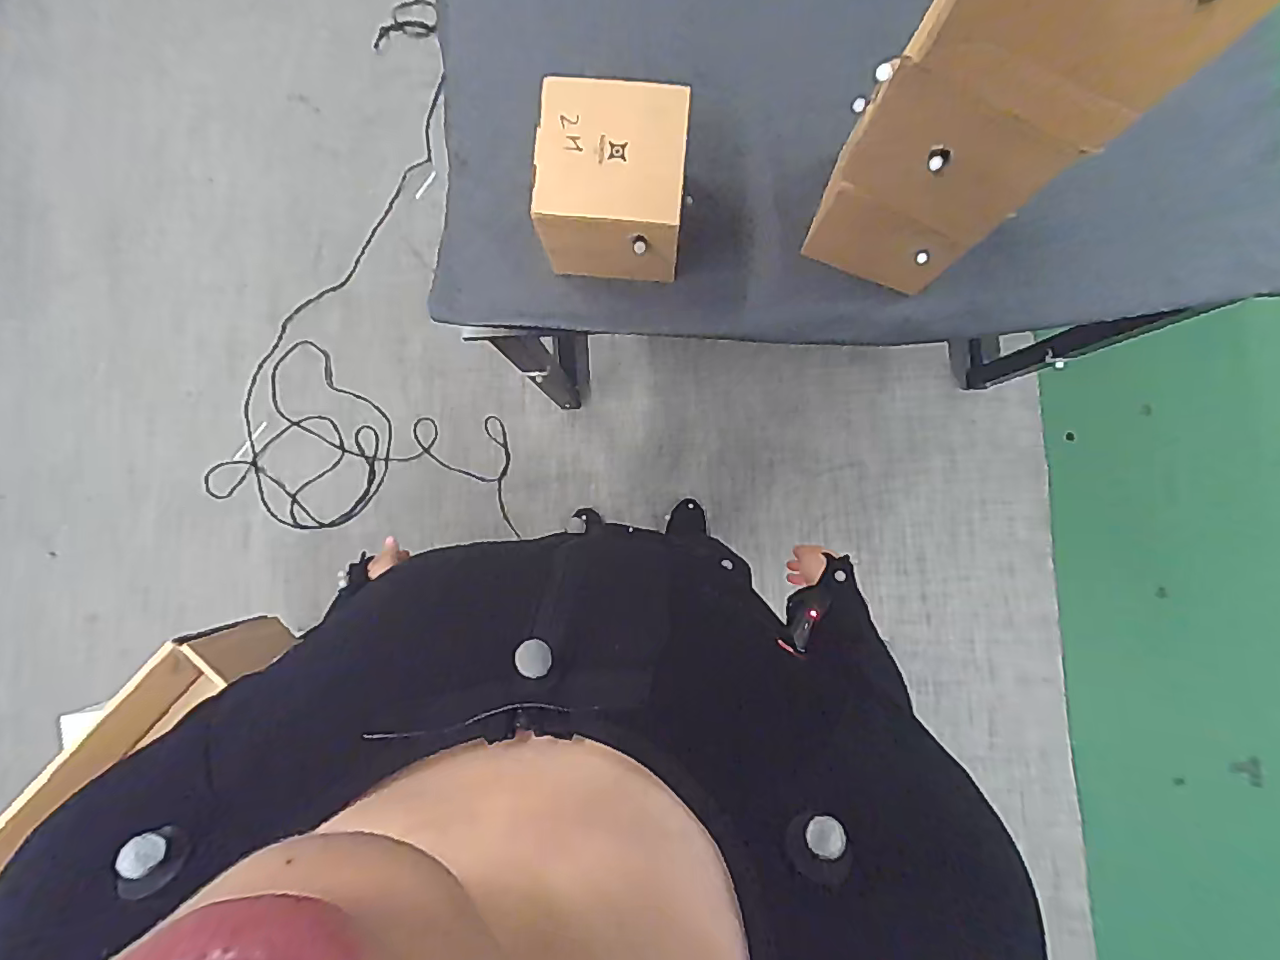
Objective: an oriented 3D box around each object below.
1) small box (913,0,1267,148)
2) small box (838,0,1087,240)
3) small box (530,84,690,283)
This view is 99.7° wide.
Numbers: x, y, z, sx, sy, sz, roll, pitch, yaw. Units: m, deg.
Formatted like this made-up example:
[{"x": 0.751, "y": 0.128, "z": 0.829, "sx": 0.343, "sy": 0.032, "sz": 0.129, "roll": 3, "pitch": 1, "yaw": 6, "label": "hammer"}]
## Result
[{"x": 0.330, "y": -0.378, "z": 0.371, "sx": 0.179, "sy": 0.176, "sz": 0.168, "roll": 30, "pitch": 88, "yaw": 2, "label": "small box"}, {"x": 0.332, "y": -0.371, "z": 0.533, "sx": 0.179, "sy": 0.176, "sz": 0.168, "roll": 30, "pitch": 88, "yaw": 4, "label": "small box"}, {"x": -0.033, "y": -0.372, "z": 0.708, "sx": 0.179, "sy": 0.176, "sz": 0.168, "roll": 5, "pitch": 88, "yaw": 2, "label": "small box"}]
